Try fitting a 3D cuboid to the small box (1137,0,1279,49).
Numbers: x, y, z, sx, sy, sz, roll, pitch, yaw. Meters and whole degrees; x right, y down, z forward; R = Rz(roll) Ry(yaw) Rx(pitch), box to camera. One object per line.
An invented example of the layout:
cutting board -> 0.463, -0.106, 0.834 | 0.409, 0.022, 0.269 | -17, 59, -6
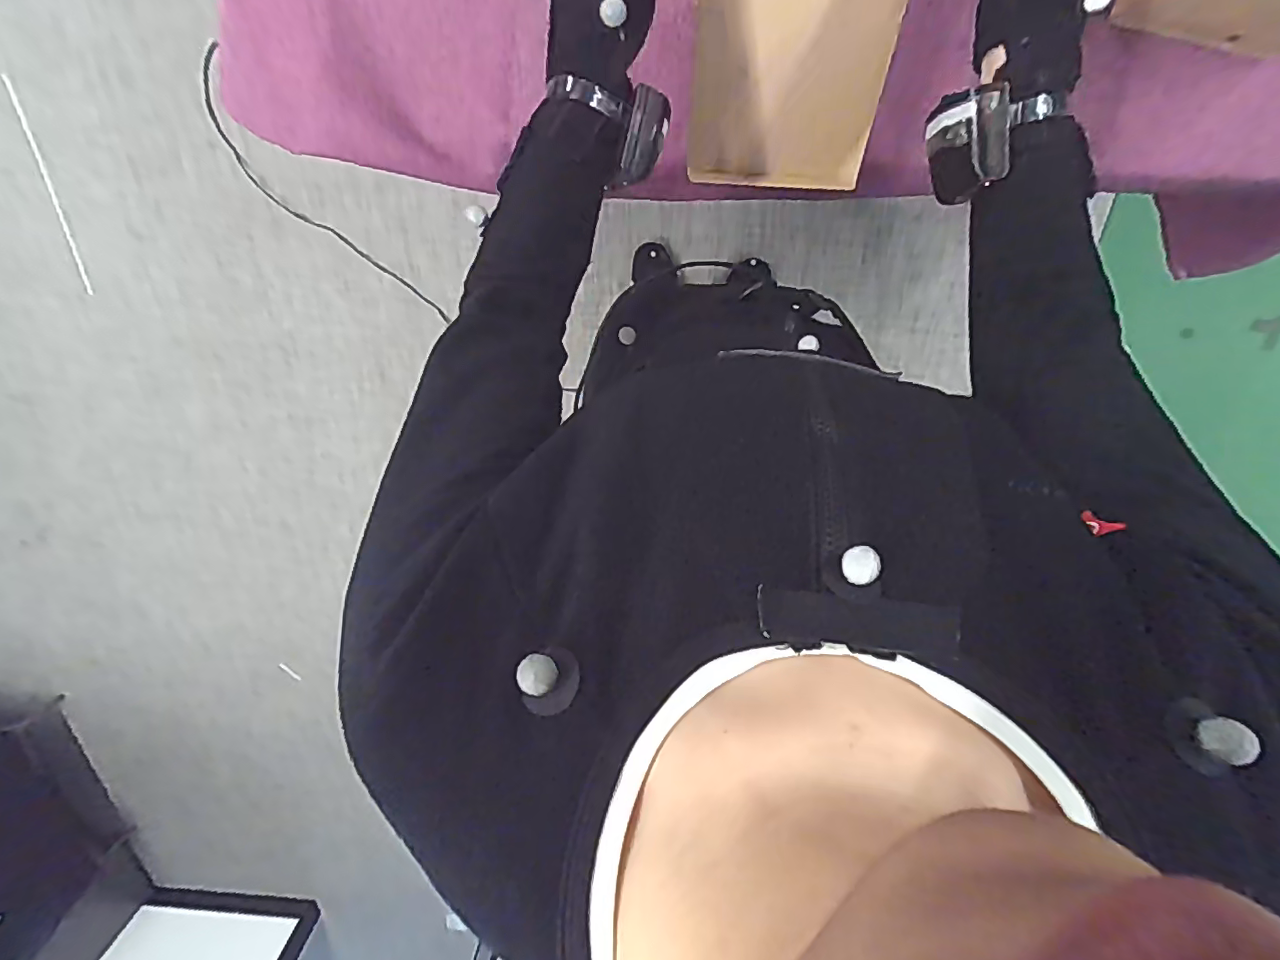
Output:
small box -> 0.539, -0.467, 0.409 | 0.168, 0.176, 0.179 | 13, 114, -2
